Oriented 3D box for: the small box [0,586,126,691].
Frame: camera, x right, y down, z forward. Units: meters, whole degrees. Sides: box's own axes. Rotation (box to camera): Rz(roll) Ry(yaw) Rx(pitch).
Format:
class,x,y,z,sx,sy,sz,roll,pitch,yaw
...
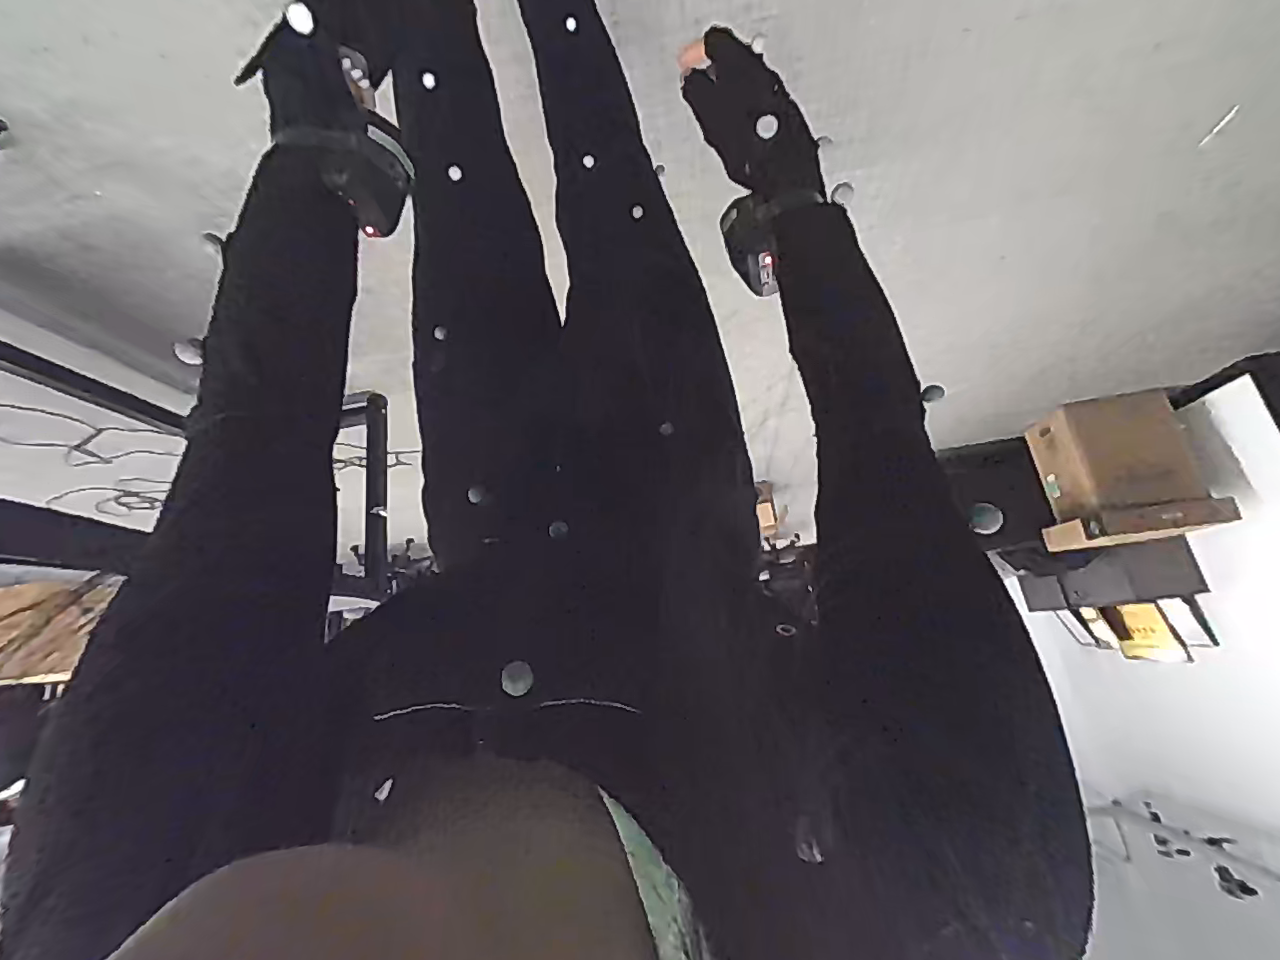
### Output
class,x,y,z,sx,sy,sz,roll,pitch,yaw
small box,-1.136,0.303,1.026,0.179,0.176,0.168,-10,163,7
